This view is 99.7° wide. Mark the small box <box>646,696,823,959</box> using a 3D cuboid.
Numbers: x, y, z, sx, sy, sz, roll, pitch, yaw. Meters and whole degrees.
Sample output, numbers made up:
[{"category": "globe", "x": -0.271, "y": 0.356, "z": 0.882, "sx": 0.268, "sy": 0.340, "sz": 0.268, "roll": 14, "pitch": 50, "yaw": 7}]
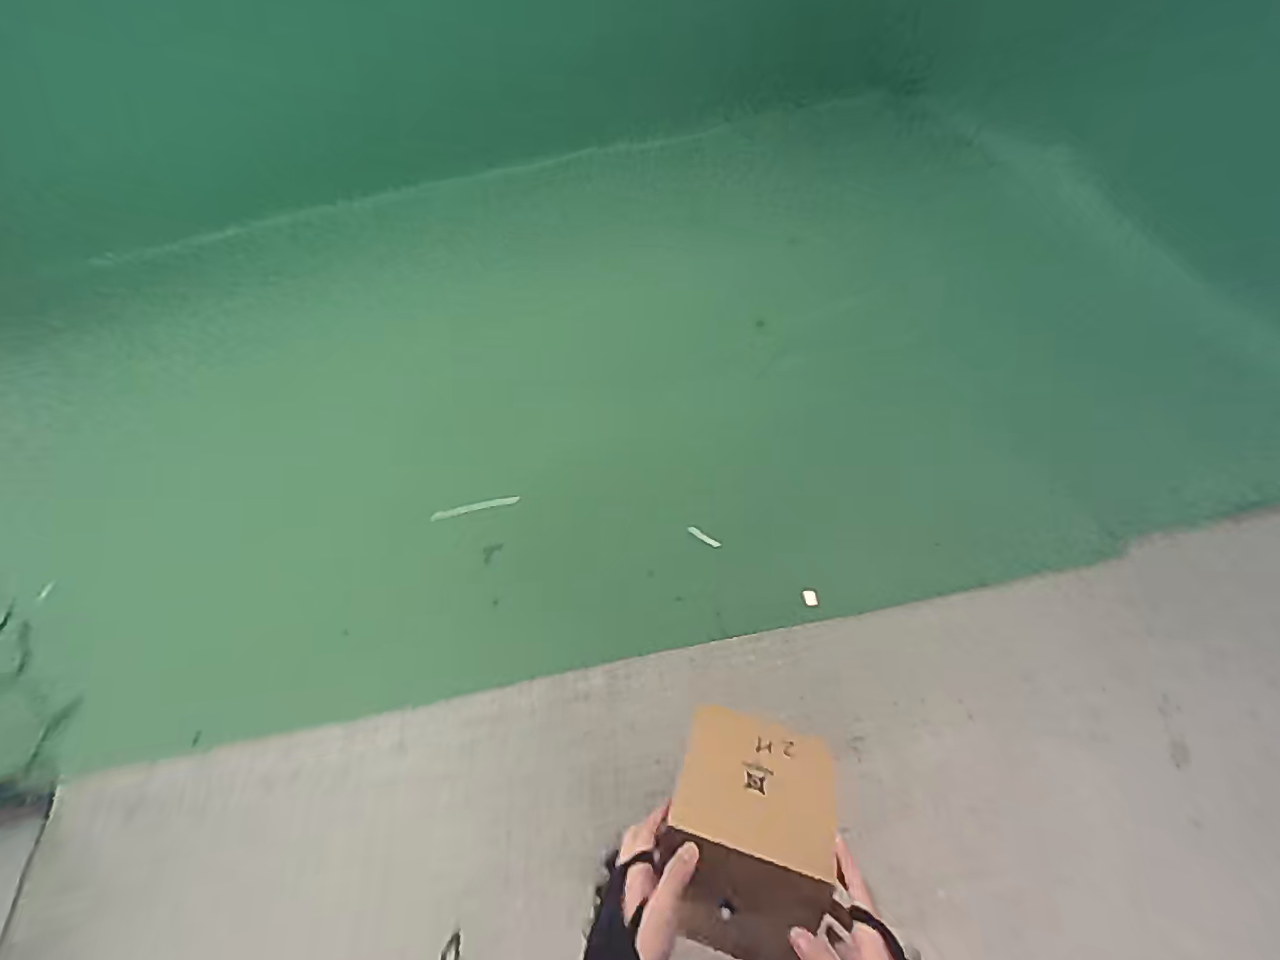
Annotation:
[{"category": "small box", "x": 0.108, "y": 0.392, "z": 0.621, "sx": 0.168, "sy": 0.176, "sz": 0.179, "roll": 12, "pitch": 24, "yaw": 13}]
